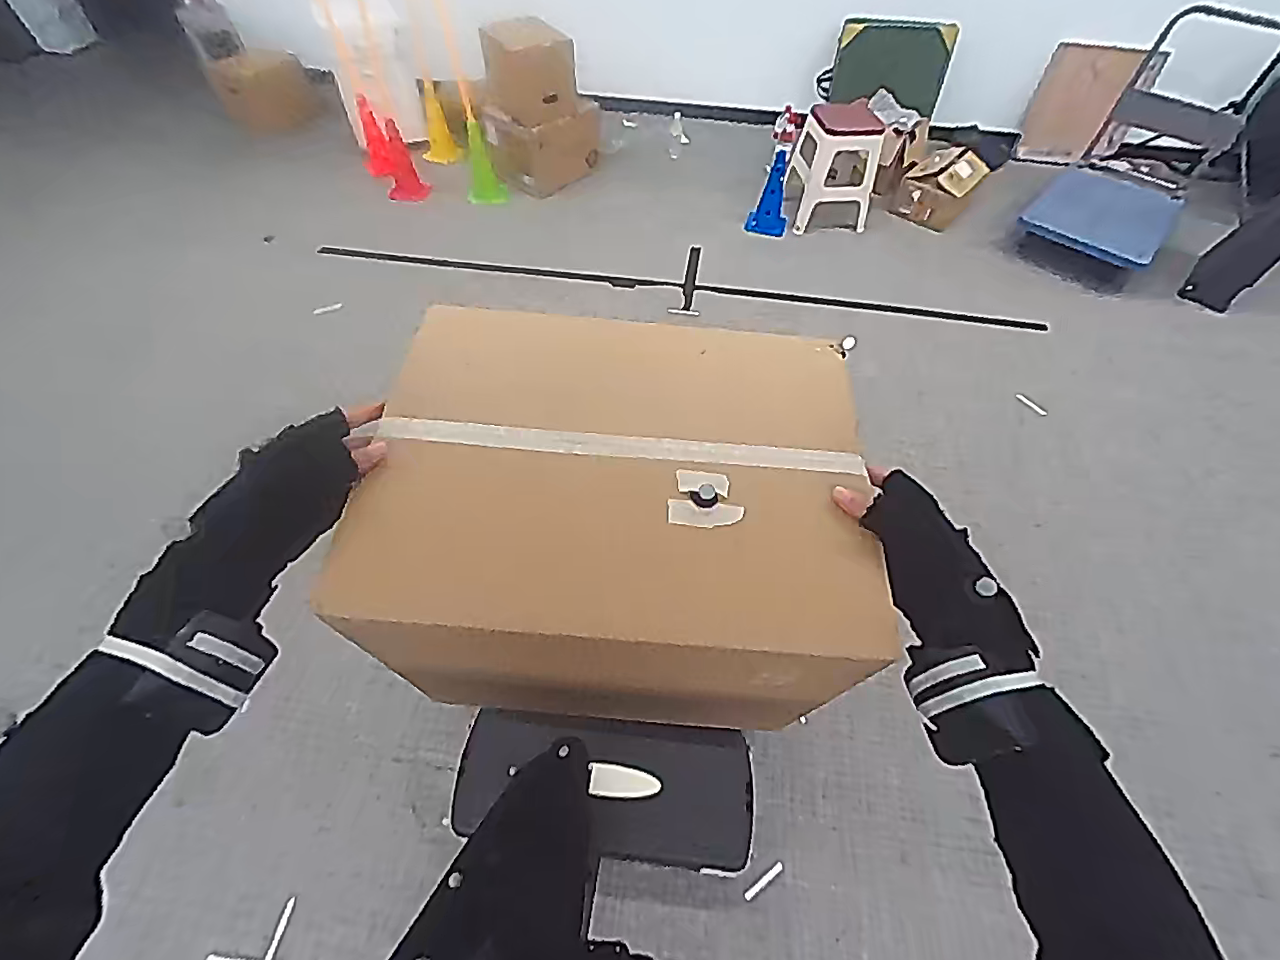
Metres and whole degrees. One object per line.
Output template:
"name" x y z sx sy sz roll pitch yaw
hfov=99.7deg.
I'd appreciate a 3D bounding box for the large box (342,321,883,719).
"large box" -0.020 0.060 0.594 0.408 0.320 0.320 5 57 -1
